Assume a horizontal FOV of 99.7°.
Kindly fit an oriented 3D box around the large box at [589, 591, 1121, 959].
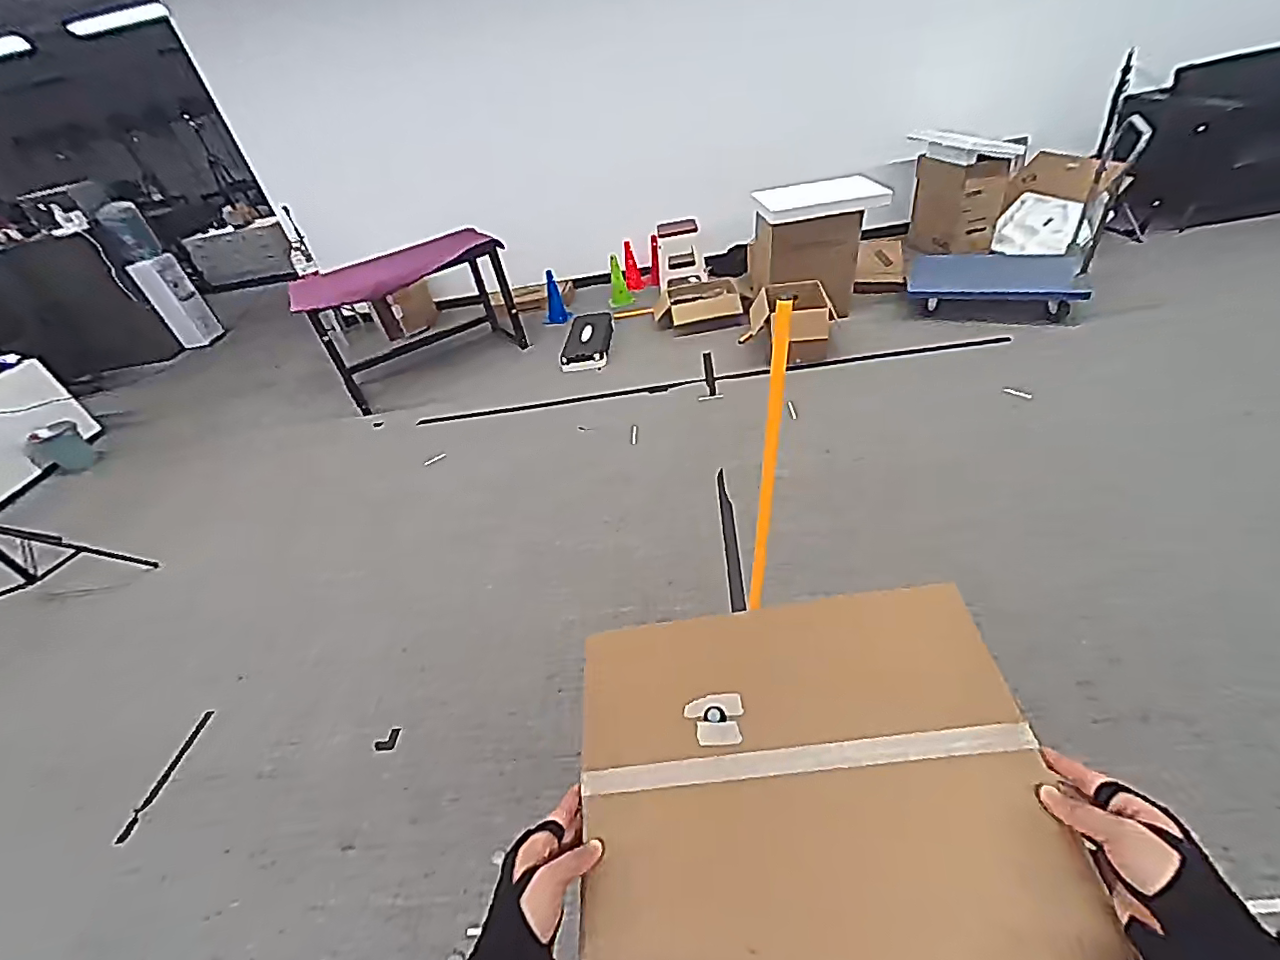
[{"bbox_3d":[0.178,0.365,0.614,0.408,0.320,0.320,-11,46,8],"label":"large box"}]
